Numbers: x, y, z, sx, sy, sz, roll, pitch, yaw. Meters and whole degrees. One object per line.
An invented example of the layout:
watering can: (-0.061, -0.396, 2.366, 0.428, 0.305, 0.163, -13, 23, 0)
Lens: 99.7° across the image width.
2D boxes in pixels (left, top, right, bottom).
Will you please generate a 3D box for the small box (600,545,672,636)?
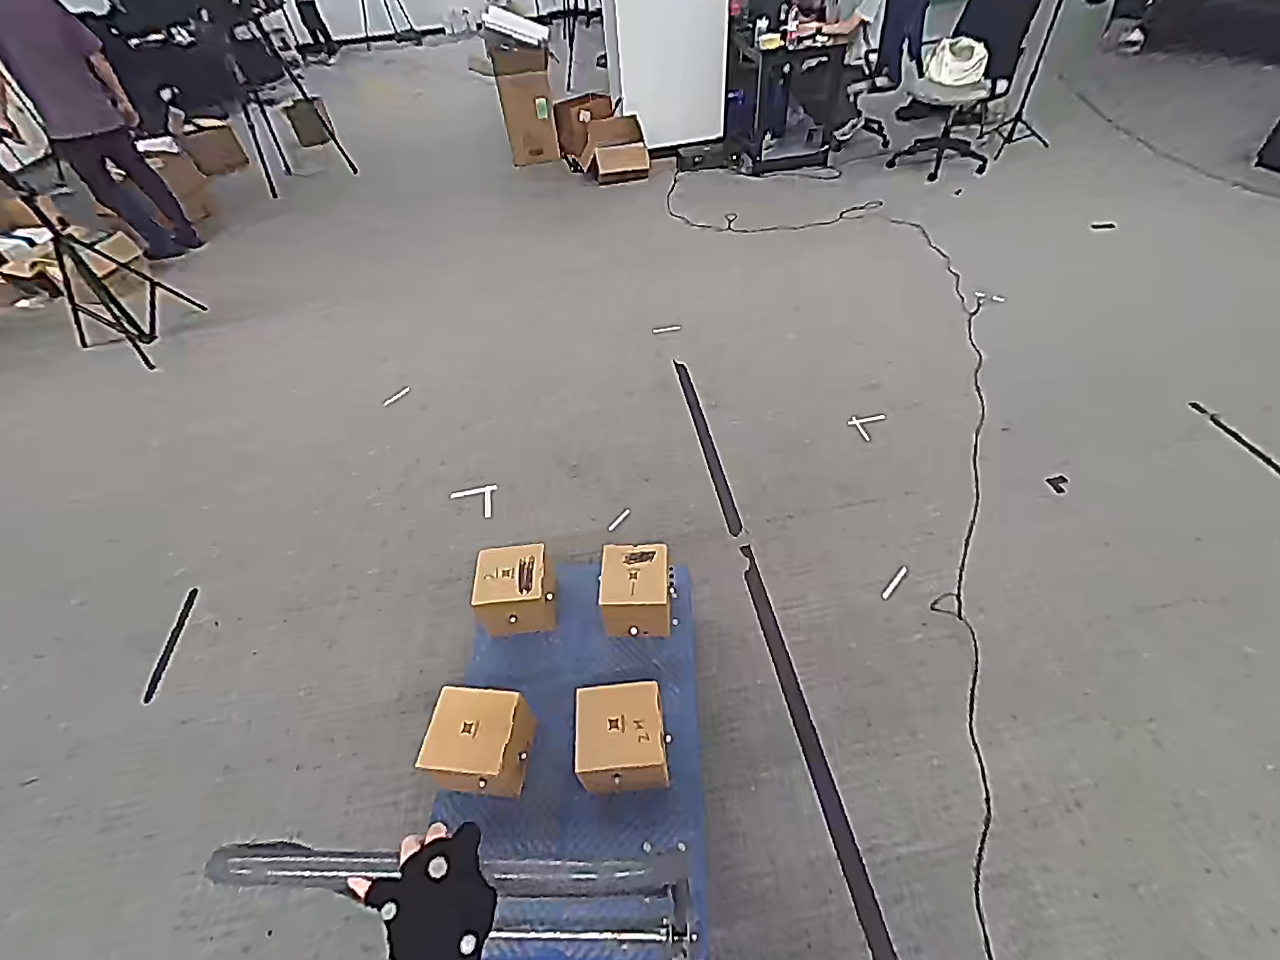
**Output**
small box: (-0.005, 0.285, 1.397, 0.168, 0.176, 0.179, -2, 48, 5)

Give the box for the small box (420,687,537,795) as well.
small box: (-0.340, 0.568, 1.172, 0.179, 0.176, 0.168, 2, 47, 6)

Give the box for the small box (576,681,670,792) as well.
small box: (-0.033, 0.550, 1.153, 0.179, 0.176, 0.168, -6, 47, 1)
